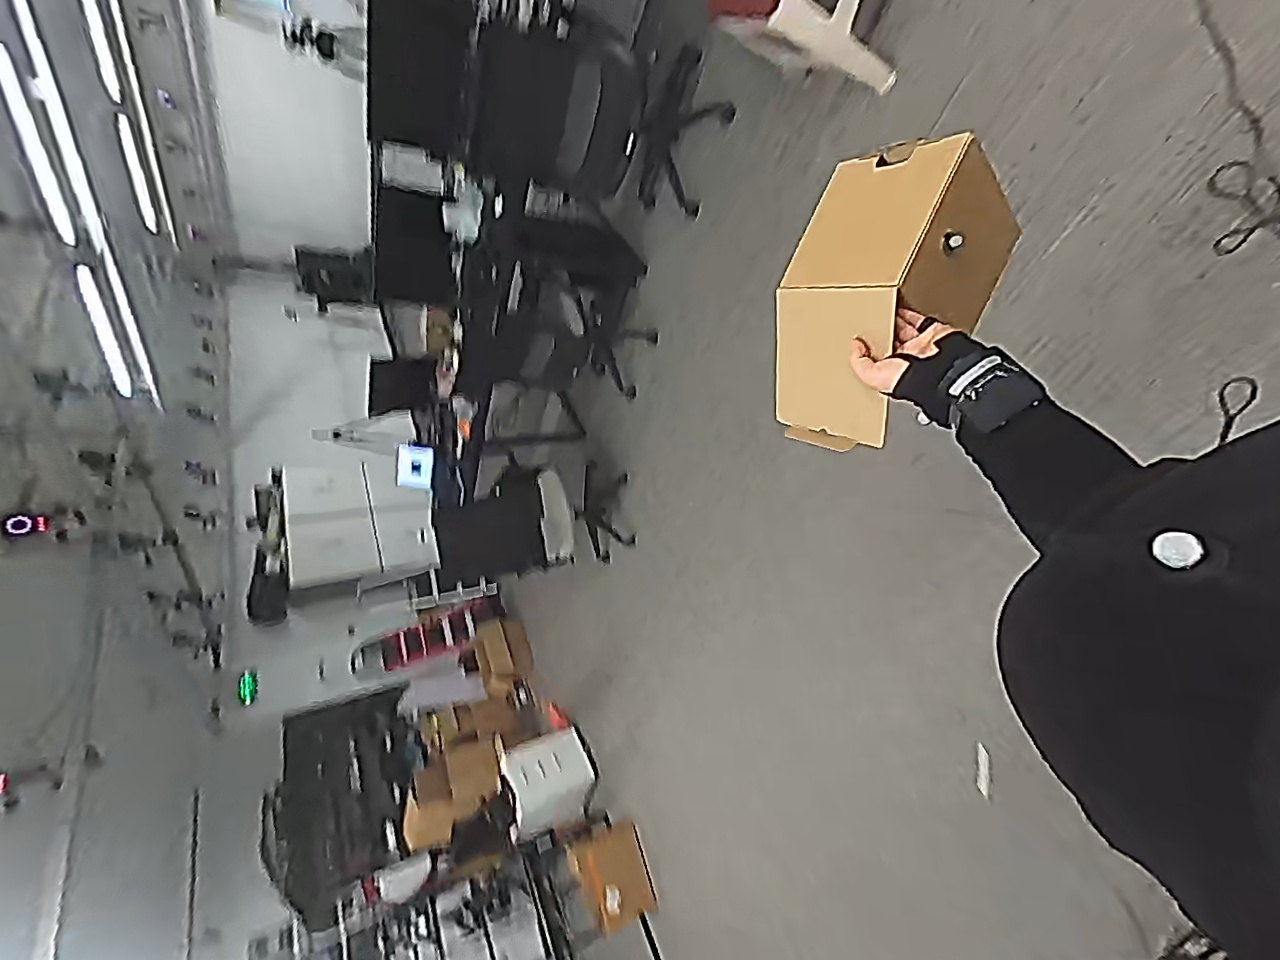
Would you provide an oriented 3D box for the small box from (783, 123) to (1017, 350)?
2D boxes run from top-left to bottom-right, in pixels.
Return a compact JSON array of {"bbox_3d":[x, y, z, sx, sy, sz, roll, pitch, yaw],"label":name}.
[{"bbox_3d":[0.314,-0.275,0.652,0.168,0.176,0.179,28,93,52],"label":"small box"}]
